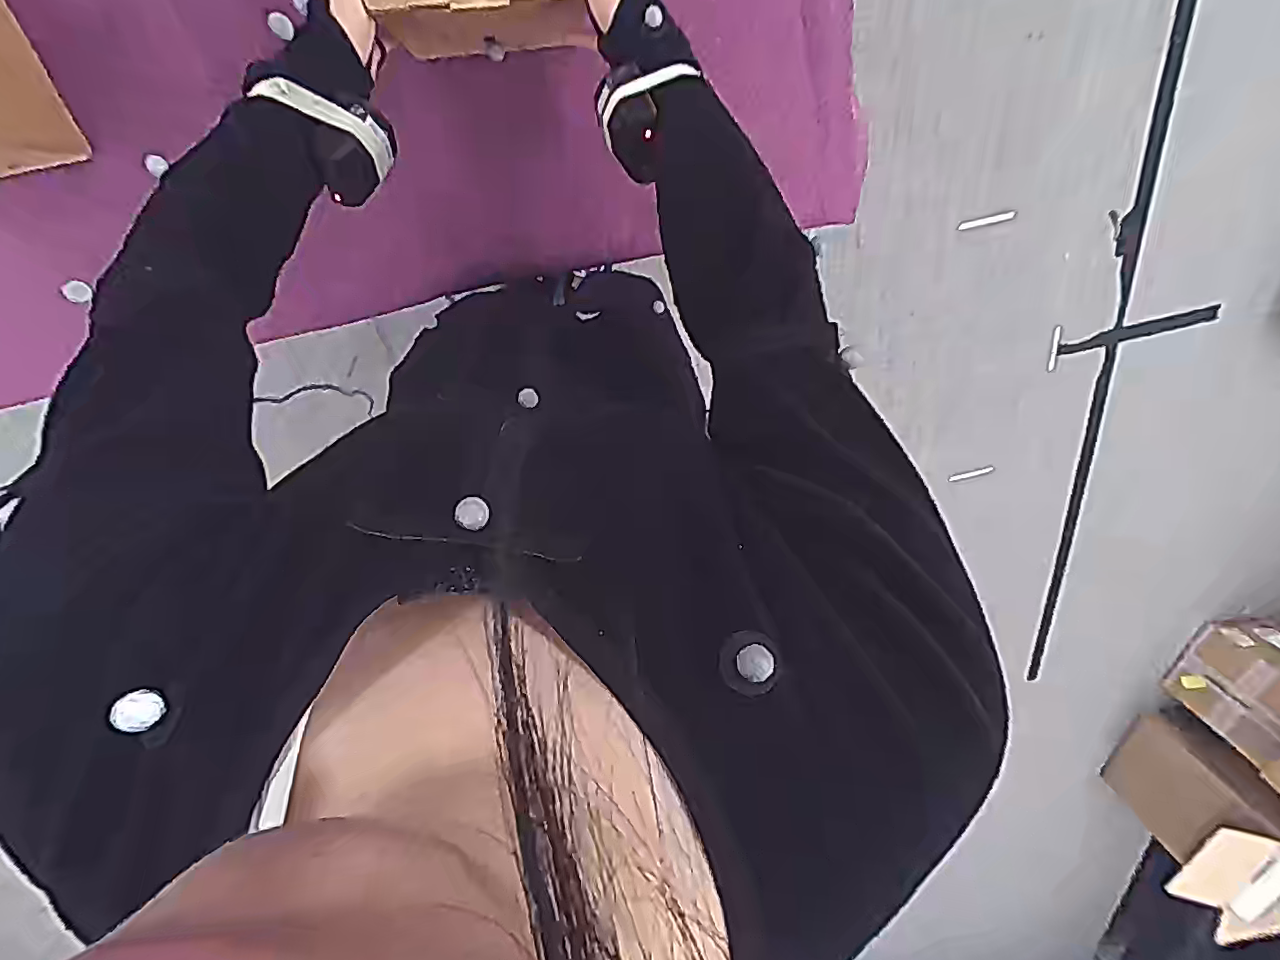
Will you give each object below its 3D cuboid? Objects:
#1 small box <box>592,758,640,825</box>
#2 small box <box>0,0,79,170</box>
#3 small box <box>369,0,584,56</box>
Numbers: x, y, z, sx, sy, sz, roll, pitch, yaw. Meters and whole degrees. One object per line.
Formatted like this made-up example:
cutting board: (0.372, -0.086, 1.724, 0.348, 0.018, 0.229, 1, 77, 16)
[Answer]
small box: (-0.102, 1.270, 2.223, 0.168, 0.176, 0.179, -11, 120, -2)
small box: (-0.627, -0.339, 0.423, 0.168, 0.176, 0.179, -13, 119, -2)
small box: (-0.140, -0.470, 0.431, 0.168, 0.176, 0.179, -8, 119, -4)
